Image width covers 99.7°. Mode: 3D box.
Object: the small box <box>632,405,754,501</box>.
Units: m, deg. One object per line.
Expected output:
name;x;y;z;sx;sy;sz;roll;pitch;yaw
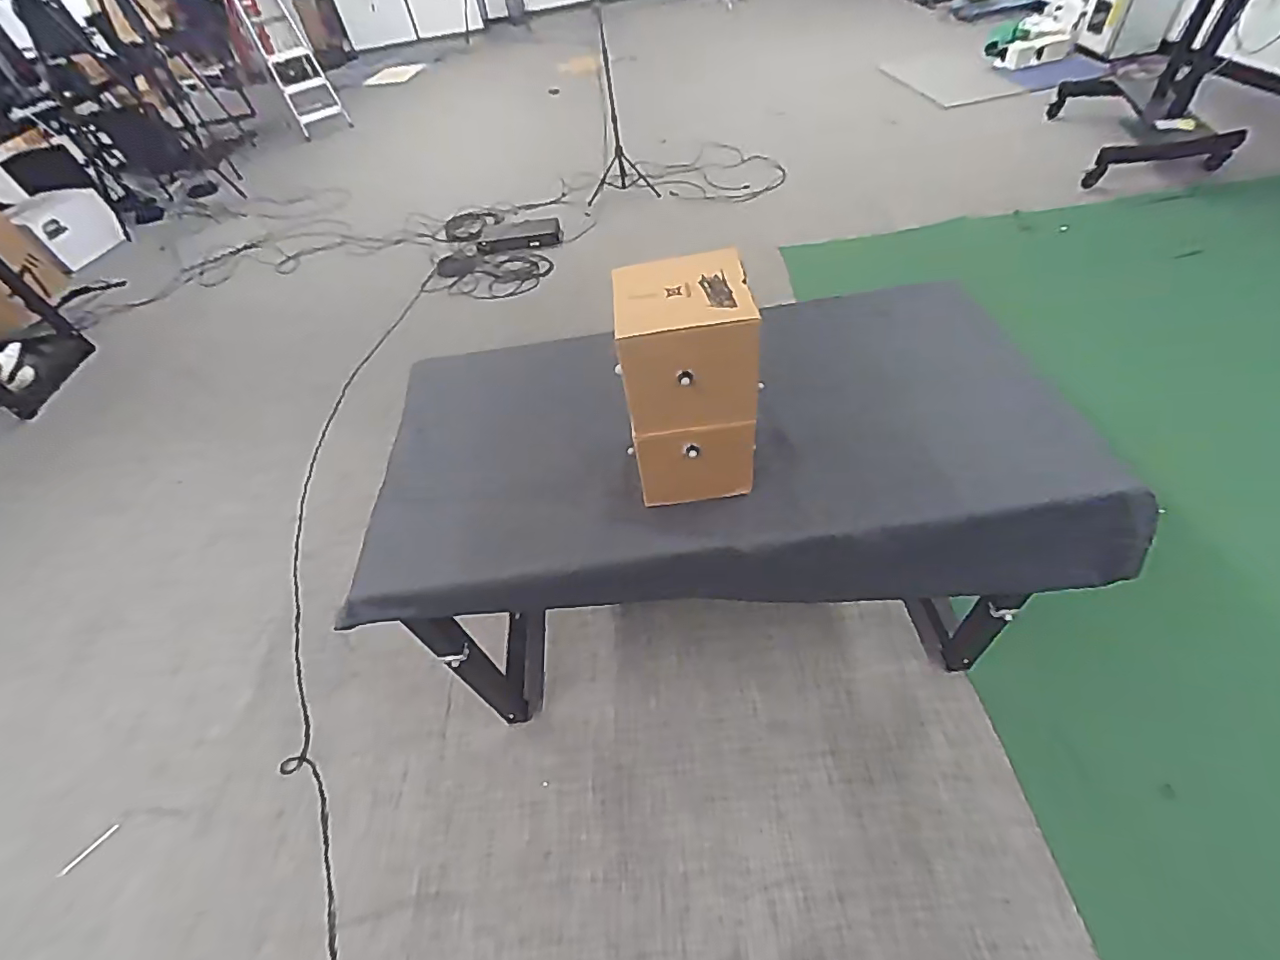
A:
small box;0.082;-0.081;0.874;0.179;0.176;0.168;-7;51;2

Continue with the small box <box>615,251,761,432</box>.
small box;0.064;-0.186;0.749;0.179;0.176;0.168;-7;51;5
